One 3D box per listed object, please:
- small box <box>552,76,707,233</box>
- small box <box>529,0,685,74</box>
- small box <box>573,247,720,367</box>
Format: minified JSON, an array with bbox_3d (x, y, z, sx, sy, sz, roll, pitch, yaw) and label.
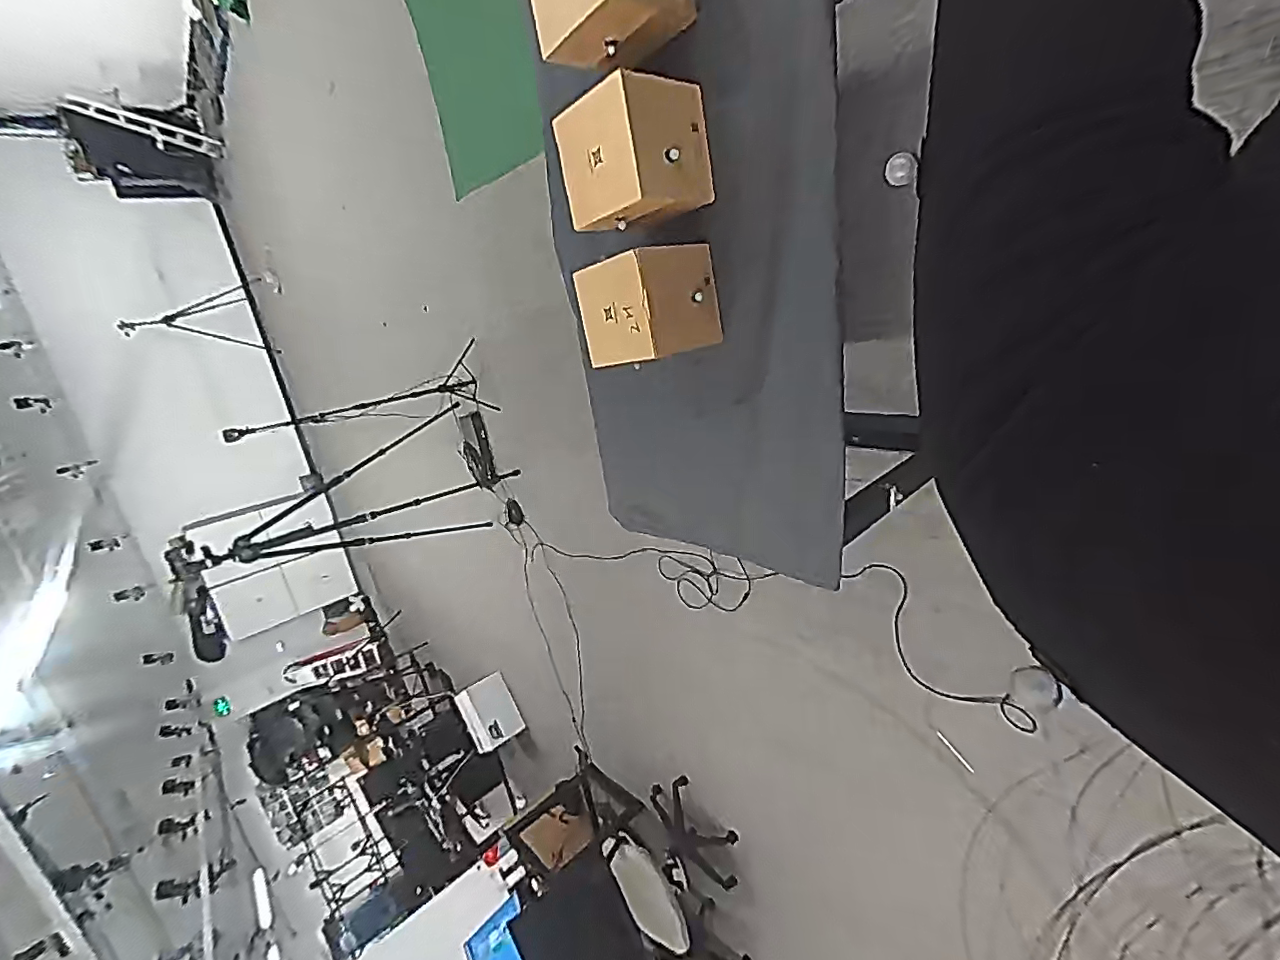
[{"bbox_3d":[-0.009,-0.506,0.862,0.179,0.176,0.168,7,114,50],"label":"small box"},{"bbox_3d":[-0.050,-0.732,0.790,0.179,0.176,0.168,7,113,50],"label":"small box"},{"bbox_3d":[0.013,-0.297,0.941,0.179,0.176,0.168,6,113,49],"label":"small box"}]
